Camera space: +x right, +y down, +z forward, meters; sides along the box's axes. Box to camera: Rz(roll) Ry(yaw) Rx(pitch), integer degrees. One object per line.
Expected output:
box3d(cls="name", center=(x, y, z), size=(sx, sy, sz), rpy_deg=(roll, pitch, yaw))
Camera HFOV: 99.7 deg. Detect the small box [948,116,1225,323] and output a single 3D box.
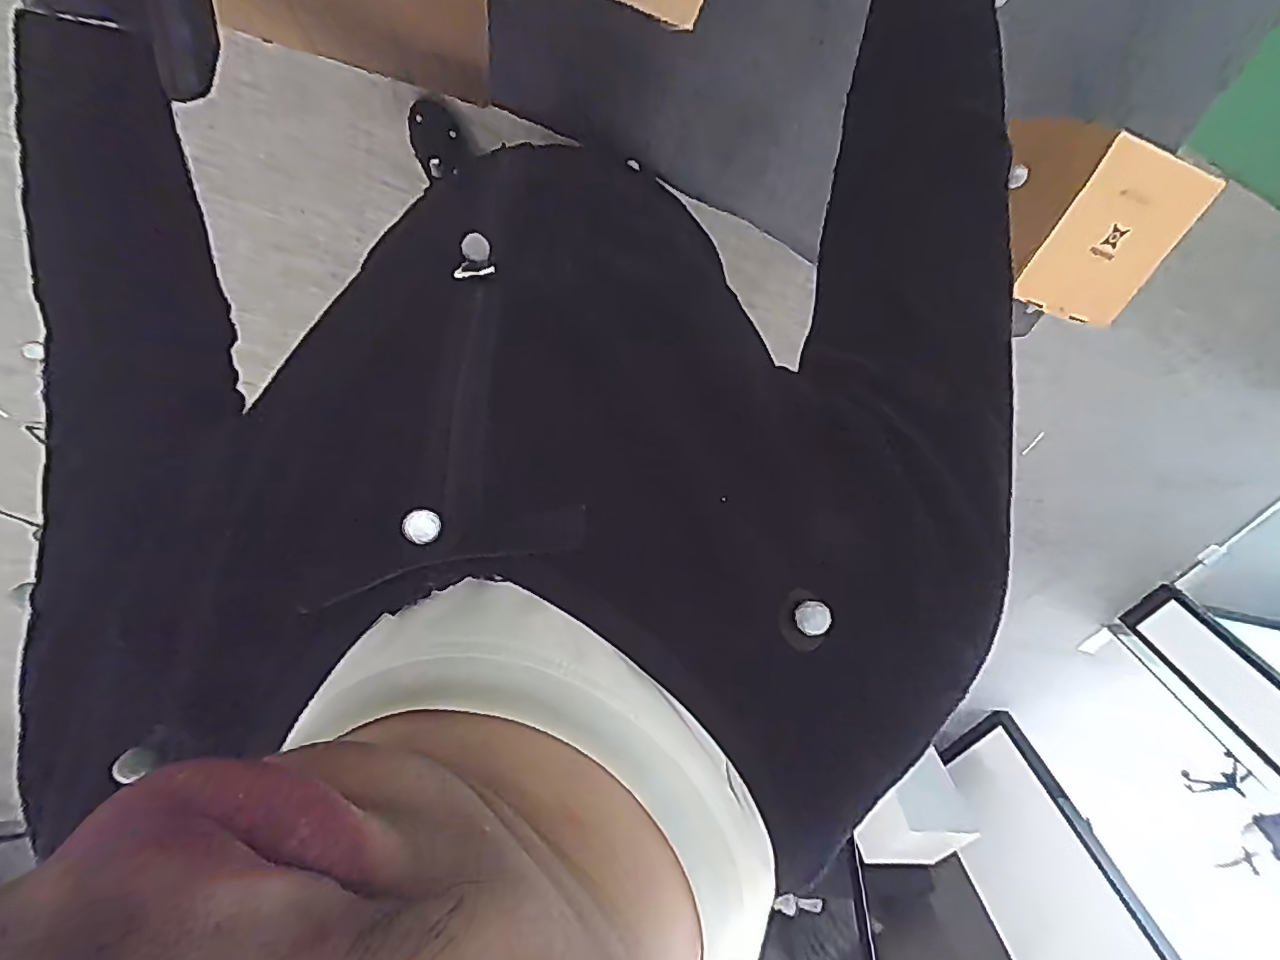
box3d(cls="small box", center=(0.531, -0.328, 0.680), size=(0.168, 0.176, 0.179), rpy_deg=(11, 124, -16))
